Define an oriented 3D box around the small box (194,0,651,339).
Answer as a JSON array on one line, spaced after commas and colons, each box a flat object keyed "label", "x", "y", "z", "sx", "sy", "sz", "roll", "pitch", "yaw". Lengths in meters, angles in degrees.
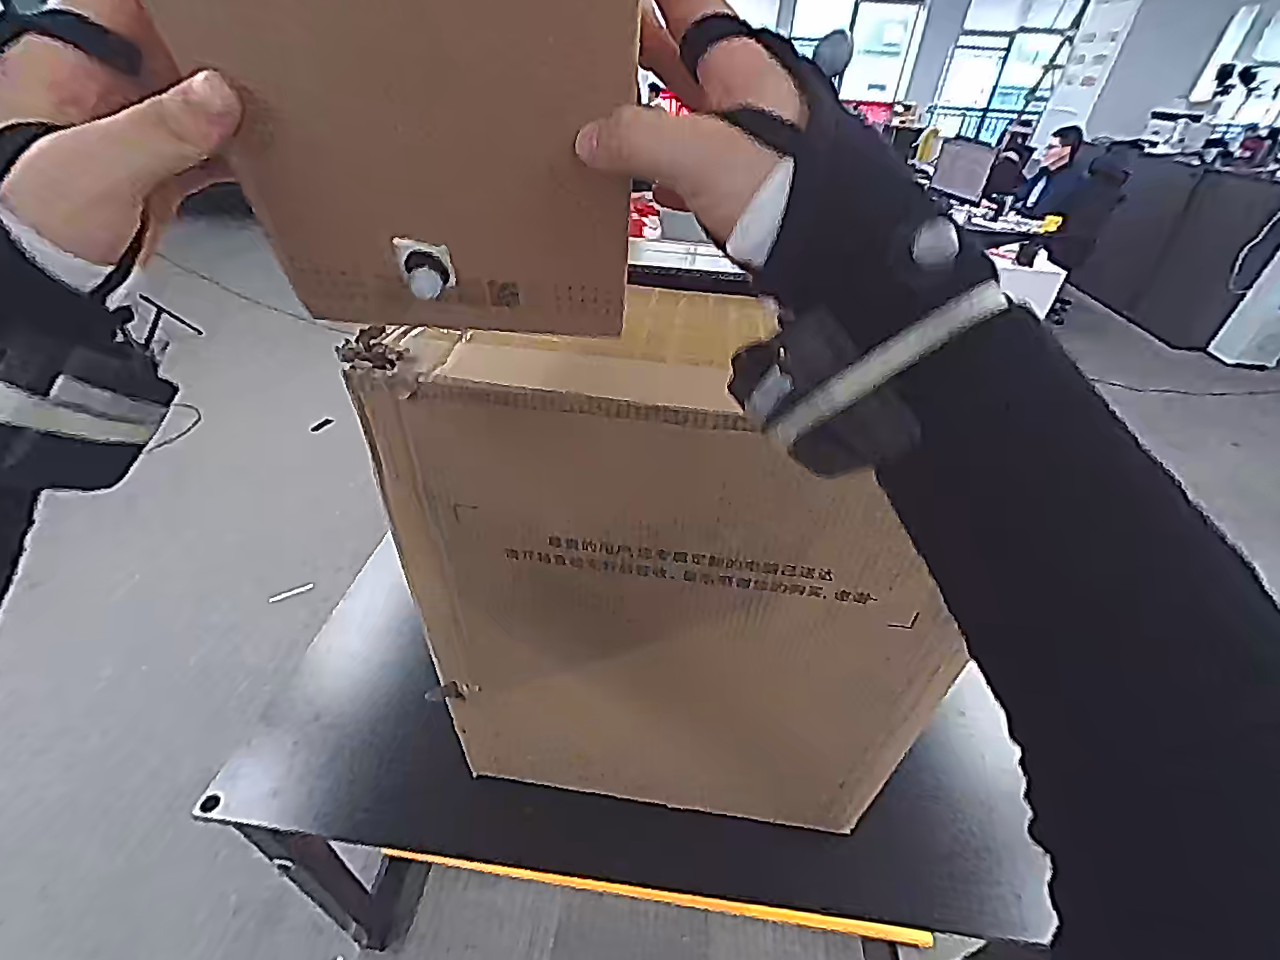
[{"label": "small box", "x": -0.085, "y": -0.197, "z": 0.281, "sx": 0.168, "sy": 0.176, "sz": 0.179, "roll": 0, "pitch": 54, "yaw": -4}]
